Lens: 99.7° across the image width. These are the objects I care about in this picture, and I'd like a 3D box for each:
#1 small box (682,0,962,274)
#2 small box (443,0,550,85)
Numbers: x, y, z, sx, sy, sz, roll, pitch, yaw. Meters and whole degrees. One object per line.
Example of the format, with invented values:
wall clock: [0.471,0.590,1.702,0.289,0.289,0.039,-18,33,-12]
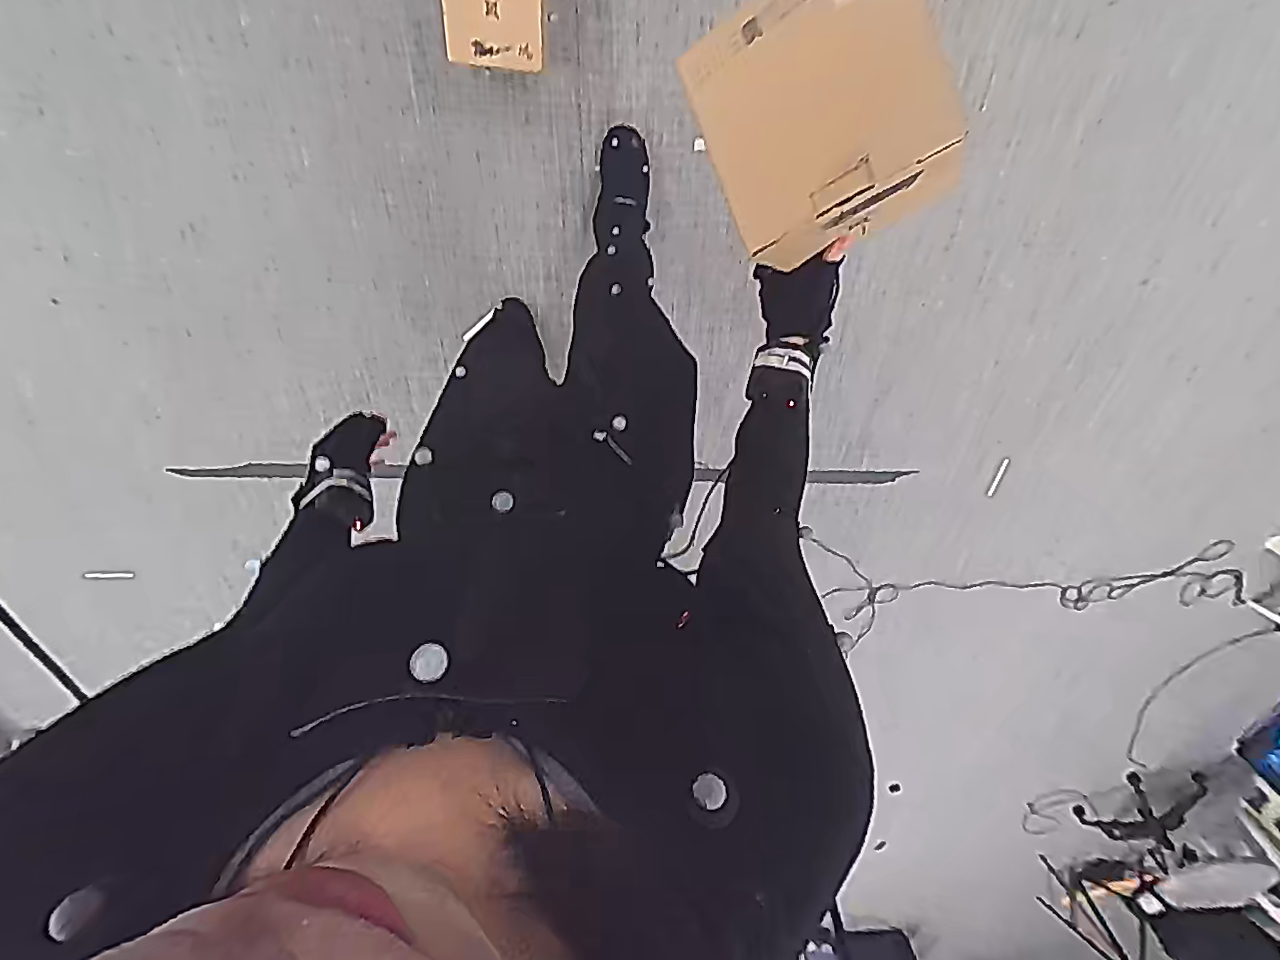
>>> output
small box: [0.160,-0.308,0.476,0.168,0.179,0.176,-20,94,30]
small box: [-0.254,-0.837,0.979,0.168,0.176,0.179,3,123,-6]
